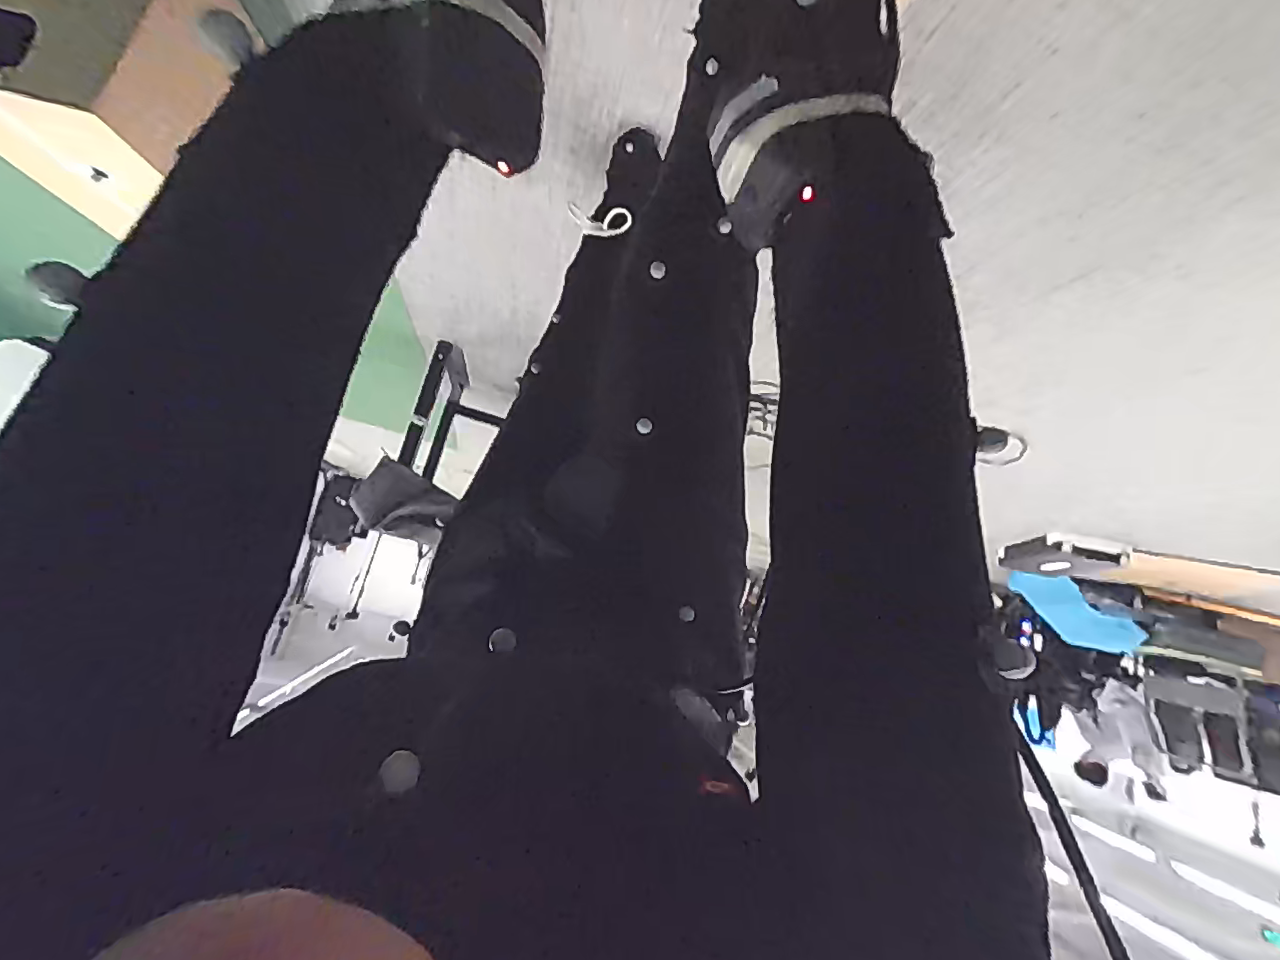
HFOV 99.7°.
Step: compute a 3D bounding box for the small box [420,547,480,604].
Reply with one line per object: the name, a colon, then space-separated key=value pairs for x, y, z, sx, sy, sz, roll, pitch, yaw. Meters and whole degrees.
small box: x=-0.711 y=0.358 z=2.041 sx=0.179 sy=0.176 sz=0.168 roll=18 pitch=169 yaw=-14
